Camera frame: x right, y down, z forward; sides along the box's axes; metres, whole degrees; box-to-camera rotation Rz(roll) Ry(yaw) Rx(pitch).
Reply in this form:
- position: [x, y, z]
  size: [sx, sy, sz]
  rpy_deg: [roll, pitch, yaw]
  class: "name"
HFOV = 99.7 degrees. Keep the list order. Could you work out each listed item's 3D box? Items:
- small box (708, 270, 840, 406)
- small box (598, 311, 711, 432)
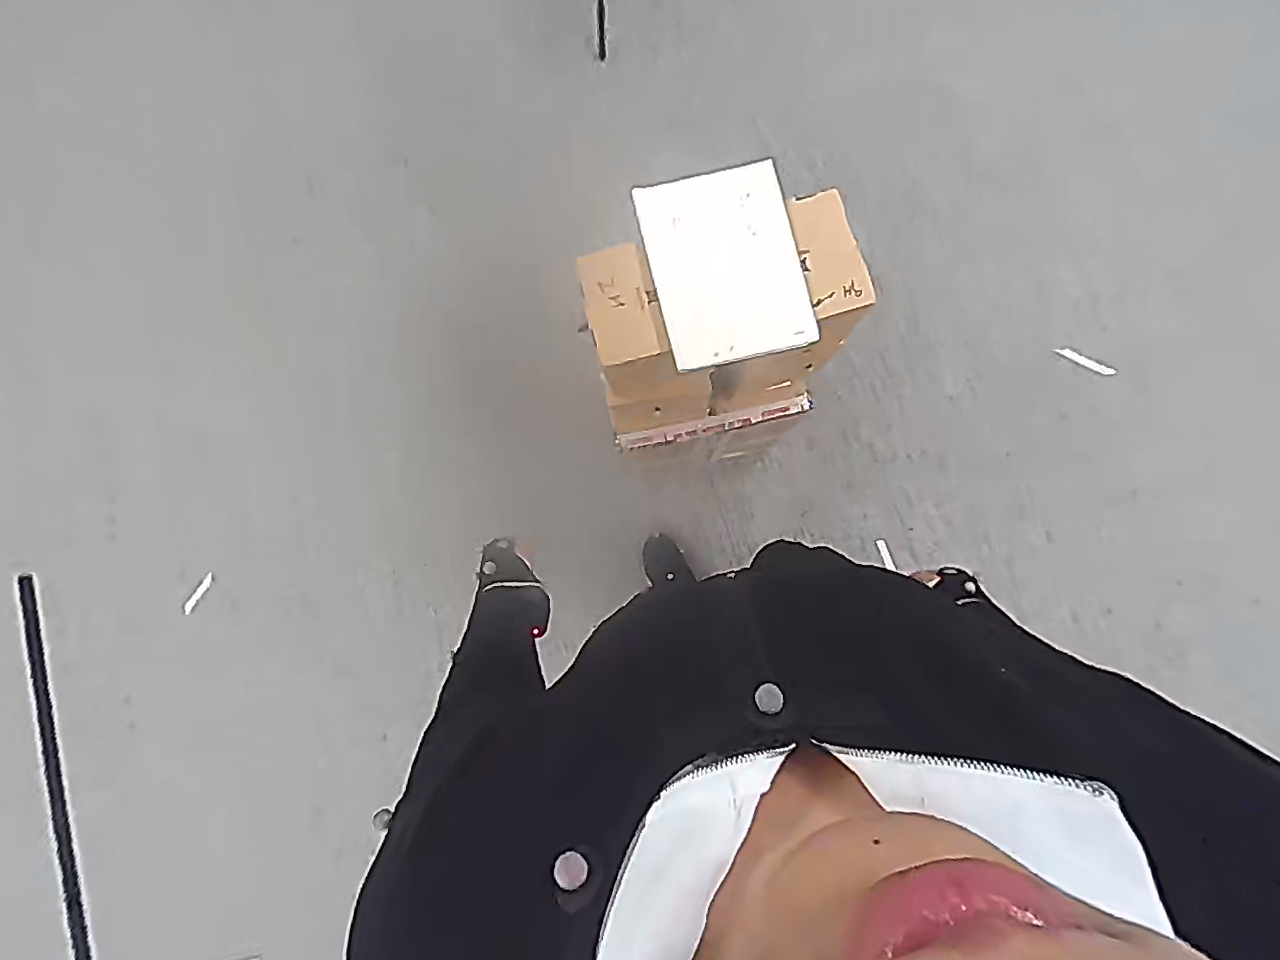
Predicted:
- position: [0.236, -0.252, 0.999]
  size: [0.179, 0.176, 0.168]
  rpy_deg: [-18, 84, 1]
  class: "small box"
- position: [0.029, -0.192, 1.006]
  size: [0.179, 0.176, 0.168]
  rpy_deg: [-10, 85, 4]
  class: "small box"
